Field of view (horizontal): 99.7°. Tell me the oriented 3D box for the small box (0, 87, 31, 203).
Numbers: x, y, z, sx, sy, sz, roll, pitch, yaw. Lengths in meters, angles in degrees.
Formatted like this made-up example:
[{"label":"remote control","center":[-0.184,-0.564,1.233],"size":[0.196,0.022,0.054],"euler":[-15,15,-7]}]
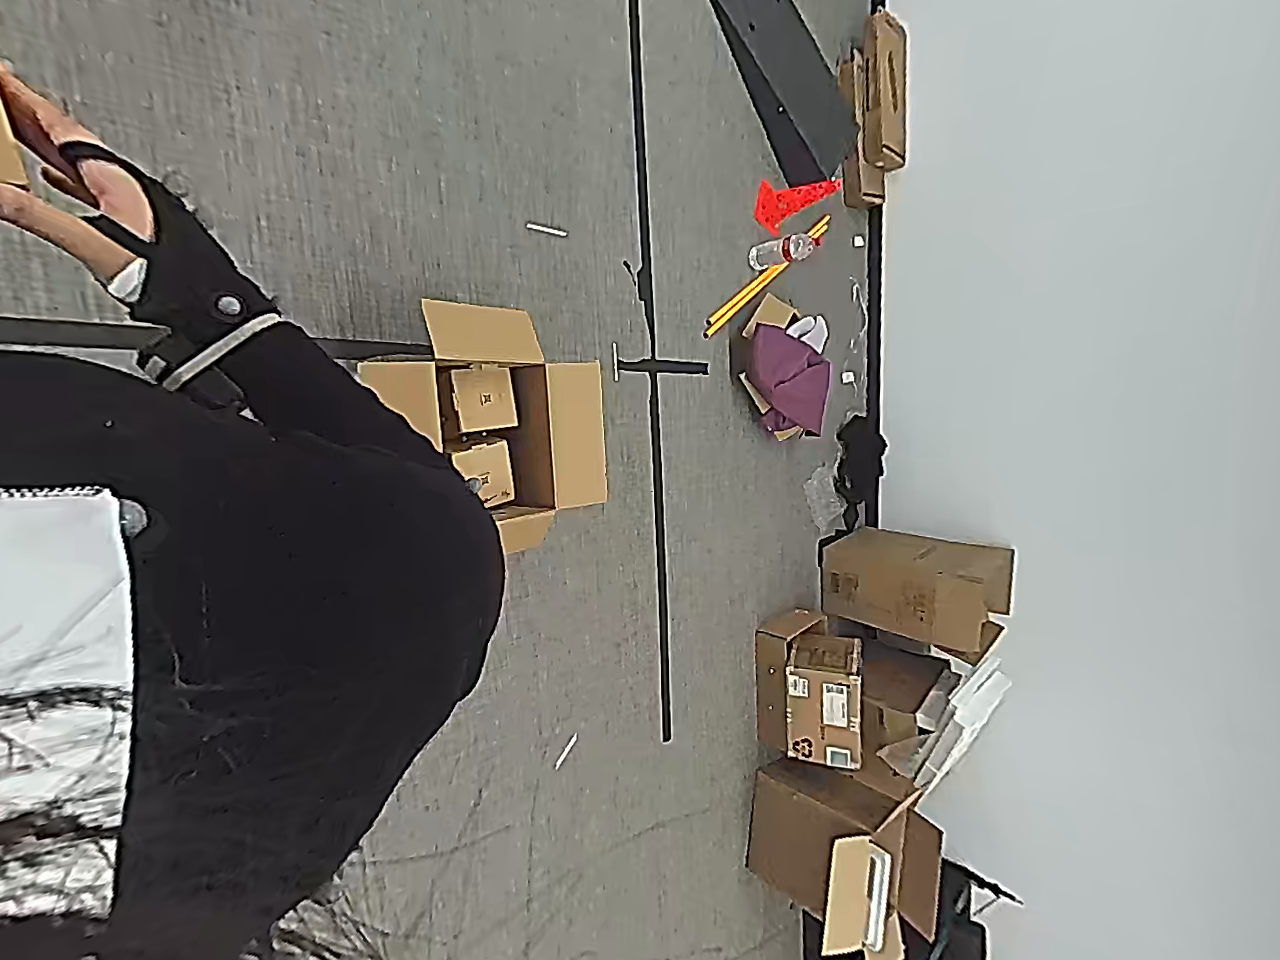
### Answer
[{"label":"small box","center":[-0.481,-0.247,0.286],"size":[0.179,0.176,0.168],"euler":[-20,119,-44]}]
